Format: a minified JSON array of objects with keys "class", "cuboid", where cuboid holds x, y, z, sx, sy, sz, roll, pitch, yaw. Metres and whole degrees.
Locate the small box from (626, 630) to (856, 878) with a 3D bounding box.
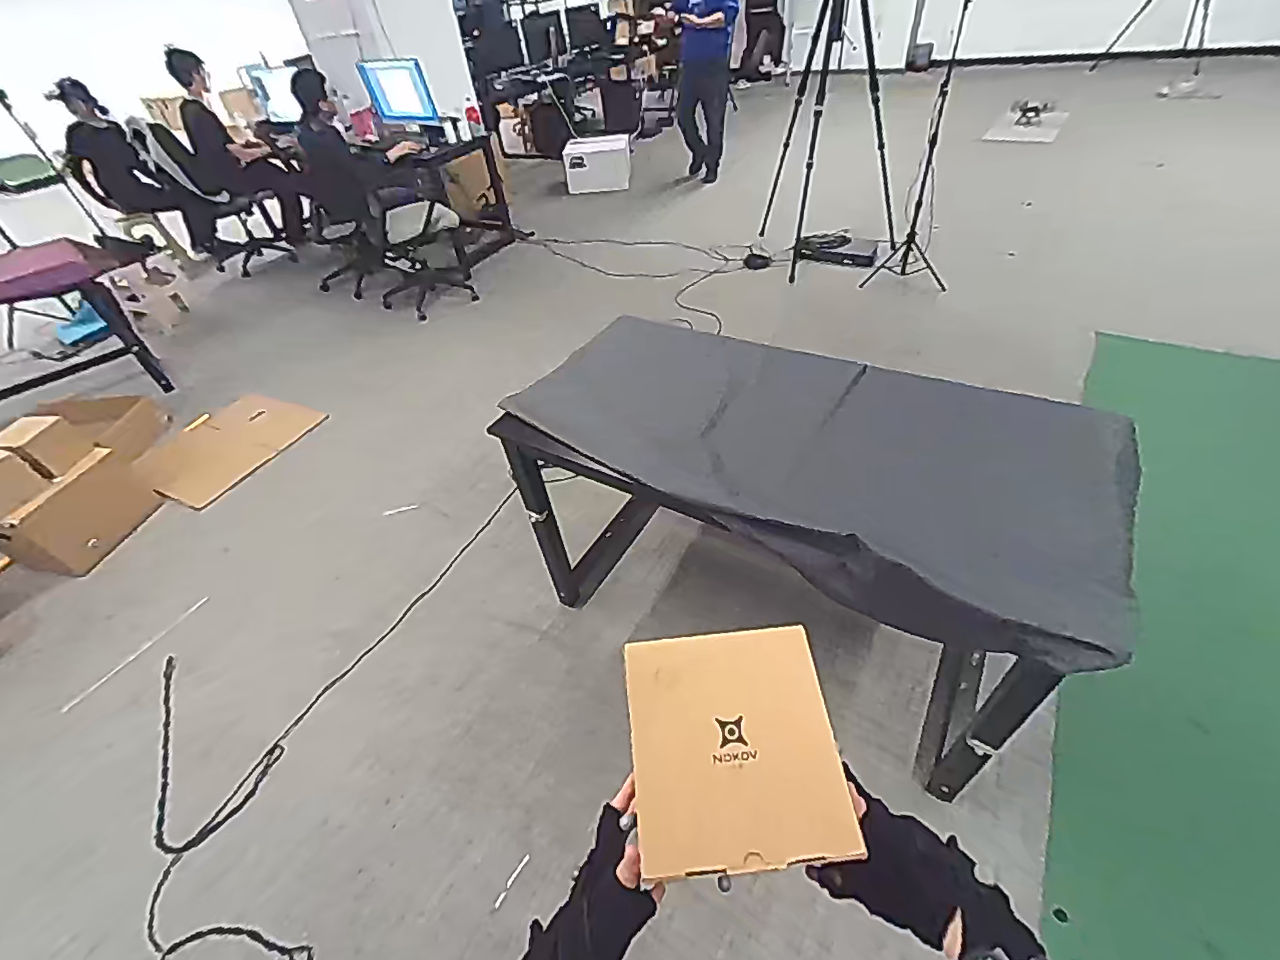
[{"class":"small box","cuboid":[0.074,0.261,0.511,0.168,0.176,0.179,-5,55,-2]}]
